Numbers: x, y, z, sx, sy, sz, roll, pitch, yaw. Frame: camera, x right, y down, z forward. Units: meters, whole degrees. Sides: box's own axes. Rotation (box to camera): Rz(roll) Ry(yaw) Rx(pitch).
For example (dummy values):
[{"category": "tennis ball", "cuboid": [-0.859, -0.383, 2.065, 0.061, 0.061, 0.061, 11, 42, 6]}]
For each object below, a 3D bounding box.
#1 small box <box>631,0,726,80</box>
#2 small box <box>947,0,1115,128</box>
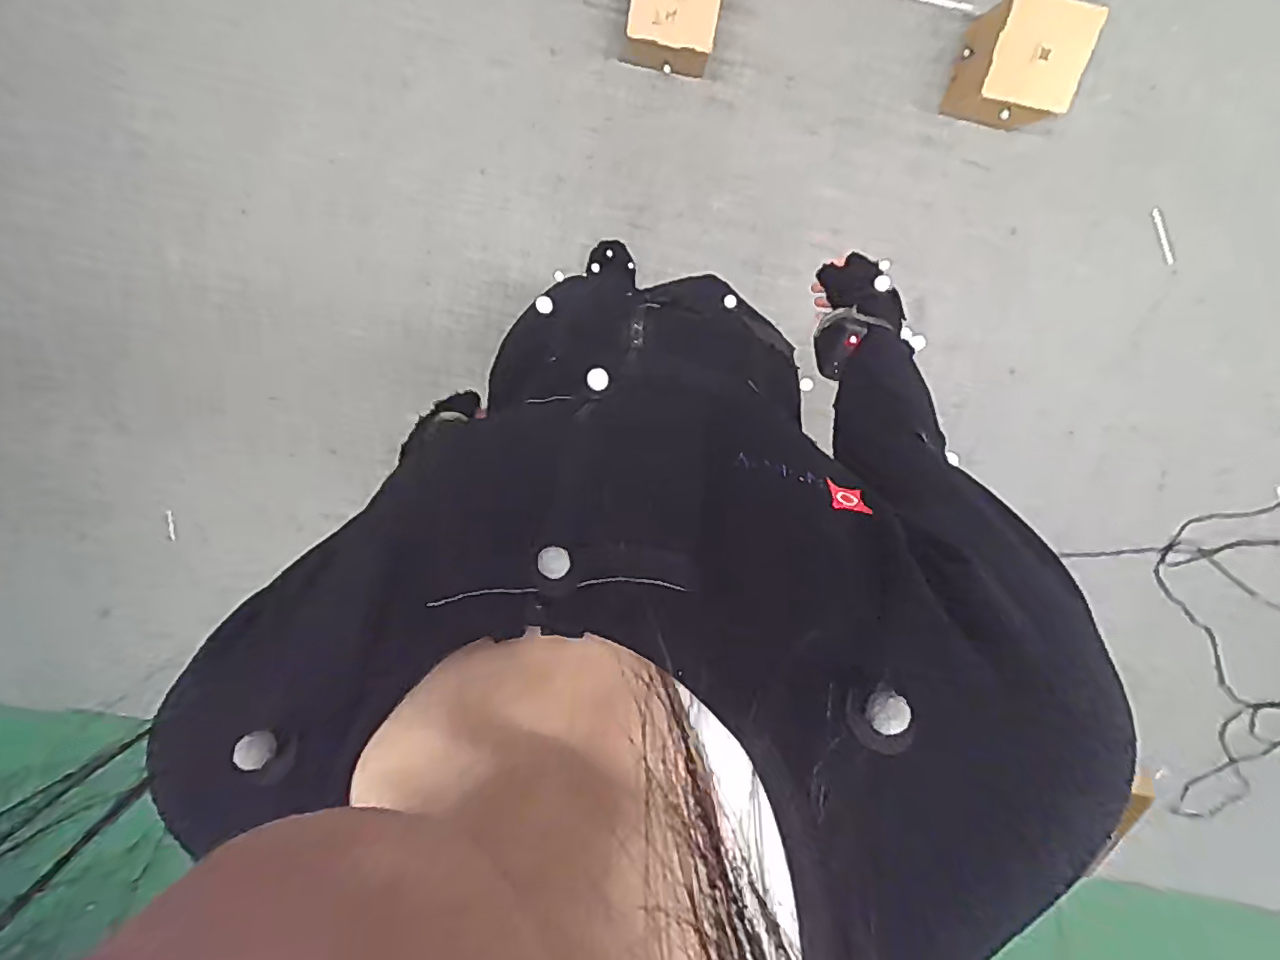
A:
[{"category": "small box", "cuboid": [0.078, -0.918, 1.052, 0.168, 0.176, 0.179, 10, 114, -2]}, {"category": "small box", "cuboid": [0.756, -0.815, 1.069, 0.179, 0.176, 0.168, 10, 114, -1]}]
